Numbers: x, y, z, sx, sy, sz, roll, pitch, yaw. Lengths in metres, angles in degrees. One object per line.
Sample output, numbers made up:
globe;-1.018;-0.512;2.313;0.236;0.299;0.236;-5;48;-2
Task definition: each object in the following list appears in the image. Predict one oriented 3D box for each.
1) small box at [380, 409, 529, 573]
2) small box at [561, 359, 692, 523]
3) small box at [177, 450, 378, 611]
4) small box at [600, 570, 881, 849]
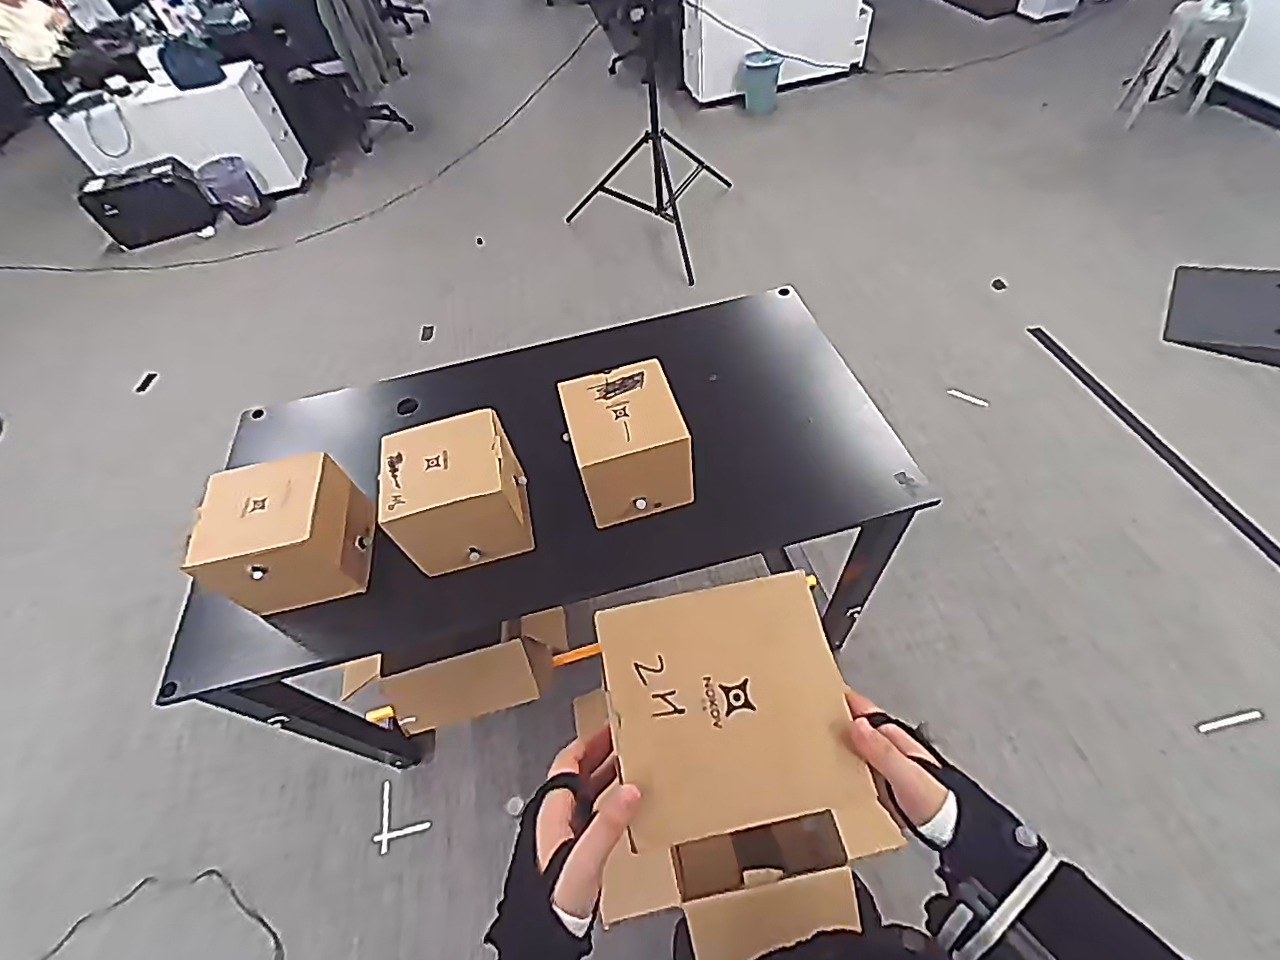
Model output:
small box;-0.278;0.020;0.840;0.179;0.176;0.168;-15;53;-5
small box;-0.020;-0.060;0.864;0.168;0.176;0.179;-16;54;-4
small box;-0.534;0.083;0.826;0.179;0.176;0.168;-12;54;-3
small box;0.069;0.190;0.468;0.179;0.176;0.168;-11;65;-3
